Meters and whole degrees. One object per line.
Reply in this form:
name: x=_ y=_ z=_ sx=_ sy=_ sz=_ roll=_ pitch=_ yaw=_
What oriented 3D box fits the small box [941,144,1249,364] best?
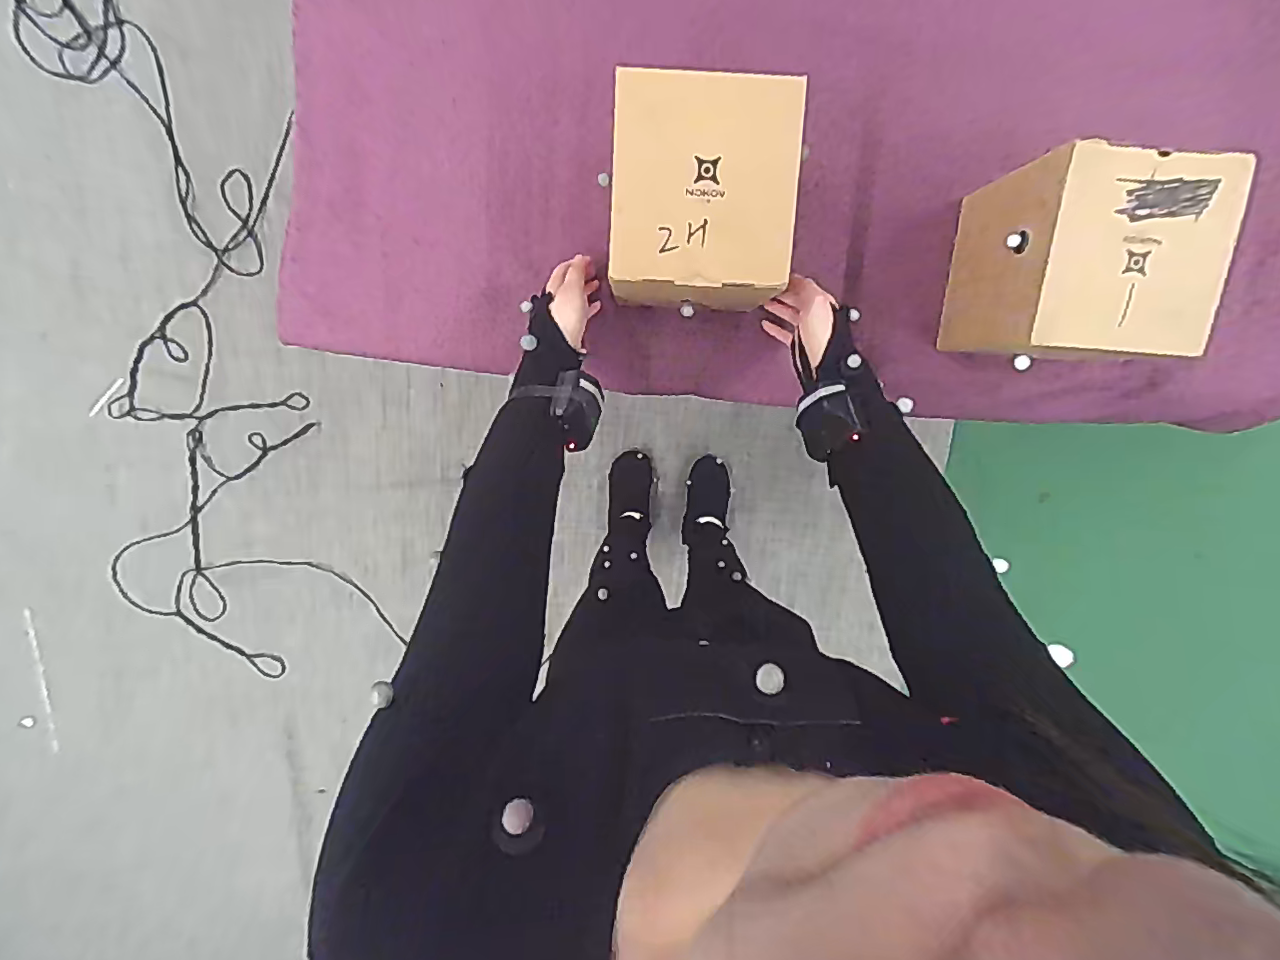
small box: x=0.449 y=-0.218 z=0.568 sx=0.168 sy=0.176 sz=0.179 roll=4 pitch=101 yaw=0

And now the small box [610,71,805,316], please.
small box: x=0.058 y=-0.274 z=0.556 sx=0.168 sy=0.176 sz=0.179 roll=3 pitch=100 yaw=0
